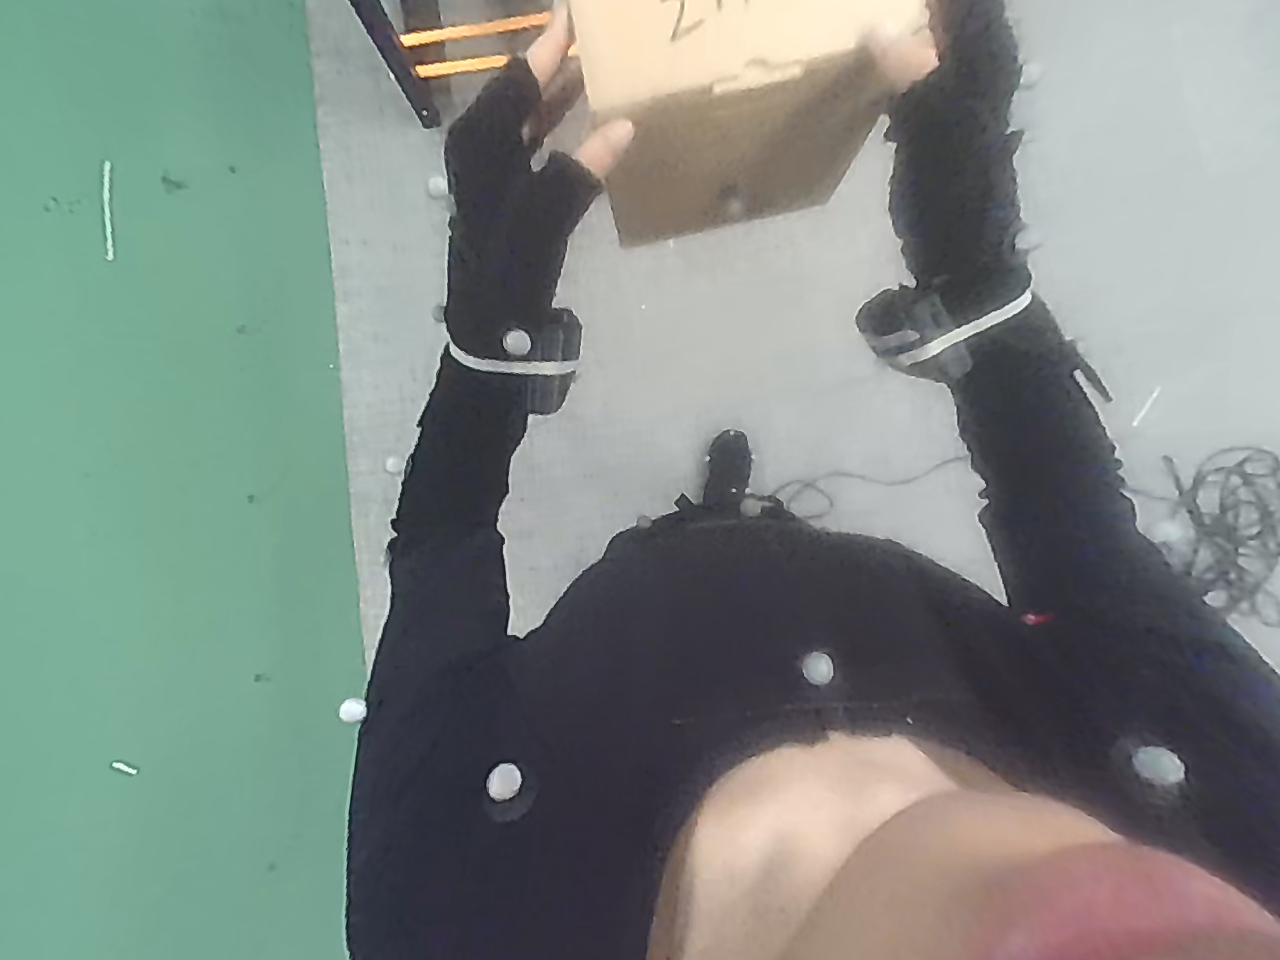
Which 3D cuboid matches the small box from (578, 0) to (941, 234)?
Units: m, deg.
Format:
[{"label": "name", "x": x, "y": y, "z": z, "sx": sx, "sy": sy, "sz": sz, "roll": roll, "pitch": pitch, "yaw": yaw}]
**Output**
[{"label": "small box", "x": 0.048, "y": -0.285, "z": 0.331, "sx": 0.168, "sy": 0.176, "sz": 0.179, "roll": -11, "pitch": 90, "yaw": 4}]
